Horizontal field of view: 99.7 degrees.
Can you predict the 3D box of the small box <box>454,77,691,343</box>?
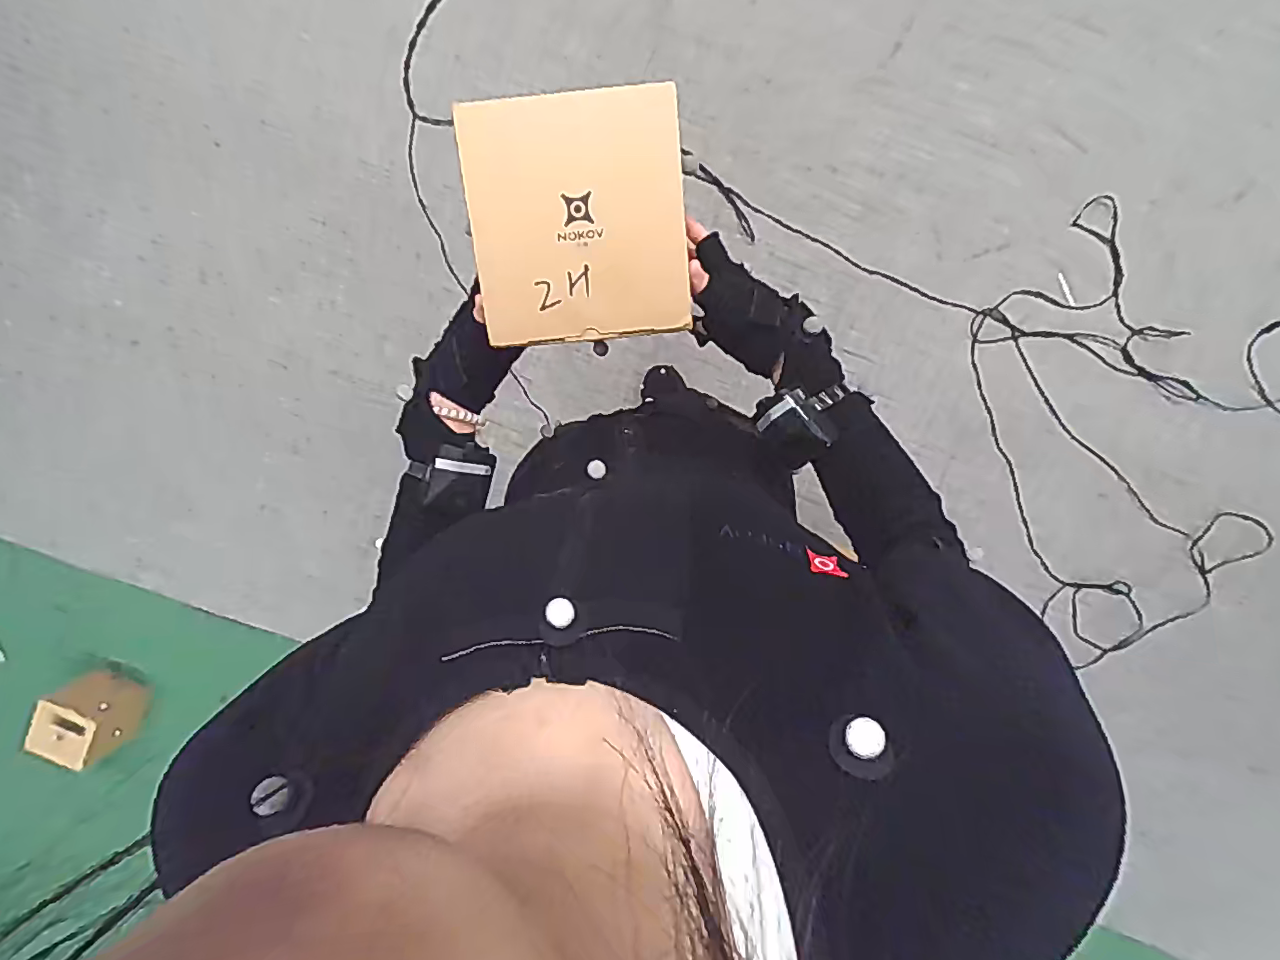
[{"bbox_3d":[-0.049,-0.218,0.484,0.168,0.176,0.179,-5,105,1],"label":"small box"}]
